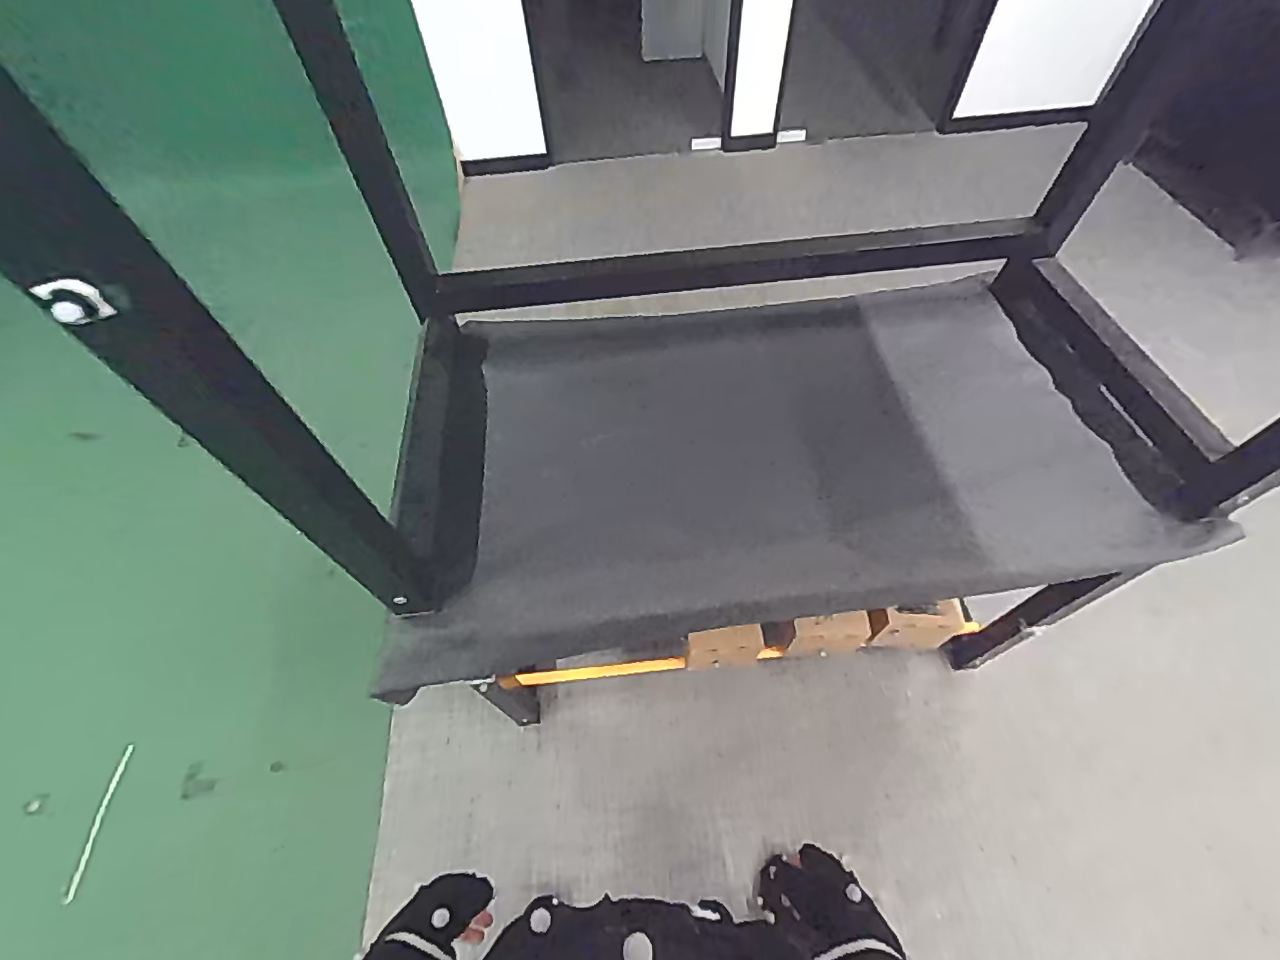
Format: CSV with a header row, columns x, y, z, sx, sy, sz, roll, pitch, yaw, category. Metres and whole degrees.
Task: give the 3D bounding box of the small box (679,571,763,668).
x,y,z,sx,sy,sz,roll,pitch,yaw,category
0.183,0.333,1.284,0.168,0.176,0.179,-4,58,-1,small box
